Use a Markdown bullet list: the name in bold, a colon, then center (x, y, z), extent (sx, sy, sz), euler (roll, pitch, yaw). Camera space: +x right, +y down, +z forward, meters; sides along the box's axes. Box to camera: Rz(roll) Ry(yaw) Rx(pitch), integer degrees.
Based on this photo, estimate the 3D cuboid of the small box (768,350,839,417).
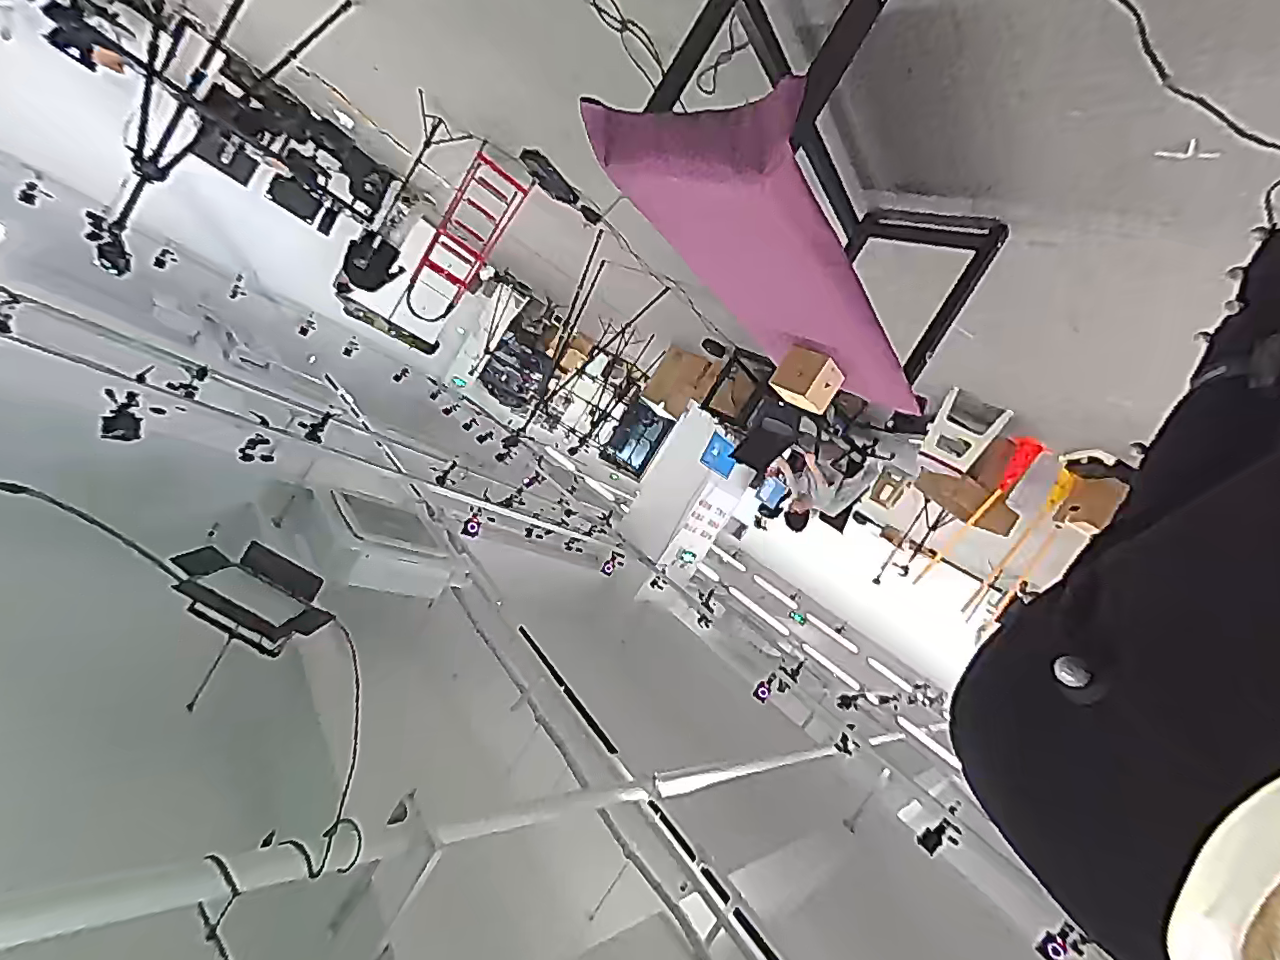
- **small box**: center (0.619, -0.365, 2.020), extent (0.179, 0.176, 0.168), euler (34, -177, 43)
